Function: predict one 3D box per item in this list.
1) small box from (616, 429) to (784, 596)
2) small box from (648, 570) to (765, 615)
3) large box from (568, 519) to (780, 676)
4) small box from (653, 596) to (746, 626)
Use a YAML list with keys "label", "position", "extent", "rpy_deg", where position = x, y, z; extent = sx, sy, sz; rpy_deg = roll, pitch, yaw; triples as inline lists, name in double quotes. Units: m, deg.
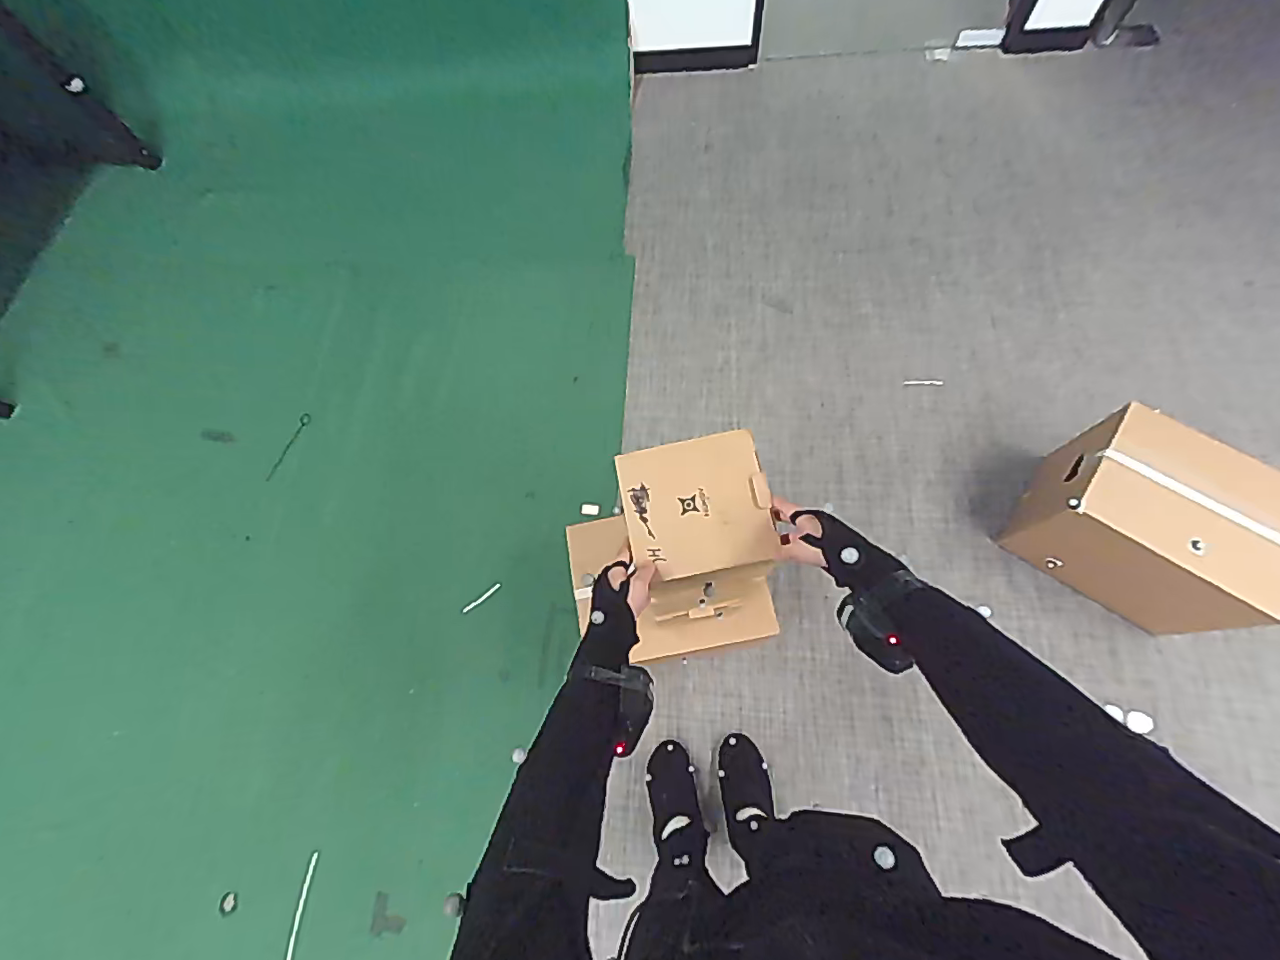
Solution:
- label: "small box"
  position: [0.073, 0.052, 0.720]
  extent: [0.179, 0.176, 0.168]
  rpy_deg: [-11, 71, 1]
- label: "small box"
  position: [0.090, 0.118, 0.893]
  extent: [0.179, 0.176, 0.168]
  rpy_deg: [-12, 69, 0]
- label: "large box"
  position: [0.076, 0.264, 1.277]
  extent: [0.408, 0.320, 0.320]
  rpy_deg: [-12, 67, 2]
- label: "small box"
  position: [0.100, 0.180, 1.044]
  extent: [0.168, 0.176, 0.179]
  rpy_deg: [-11, 69, 0]
